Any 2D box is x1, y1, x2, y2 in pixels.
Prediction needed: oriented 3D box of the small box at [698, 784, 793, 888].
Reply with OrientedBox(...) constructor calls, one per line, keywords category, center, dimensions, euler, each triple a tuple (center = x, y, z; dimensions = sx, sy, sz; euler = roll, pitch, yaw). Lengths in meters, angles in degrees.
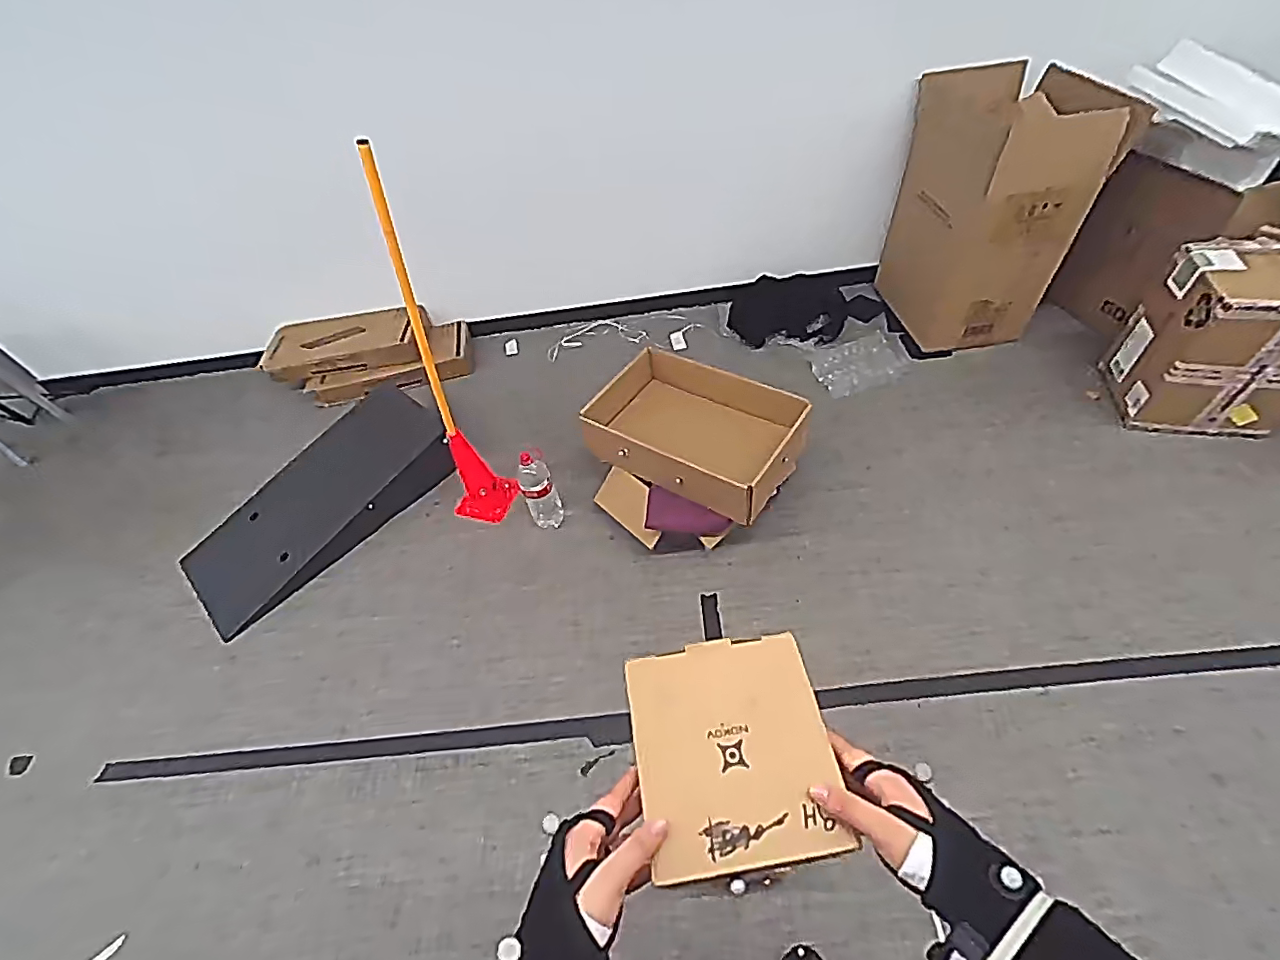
OrientedBox(category="small box", center=(0.224, 0.779, 1.181), dimensions=(0.179, 0.176, 0.168), euler=(-8, 48, 4))
